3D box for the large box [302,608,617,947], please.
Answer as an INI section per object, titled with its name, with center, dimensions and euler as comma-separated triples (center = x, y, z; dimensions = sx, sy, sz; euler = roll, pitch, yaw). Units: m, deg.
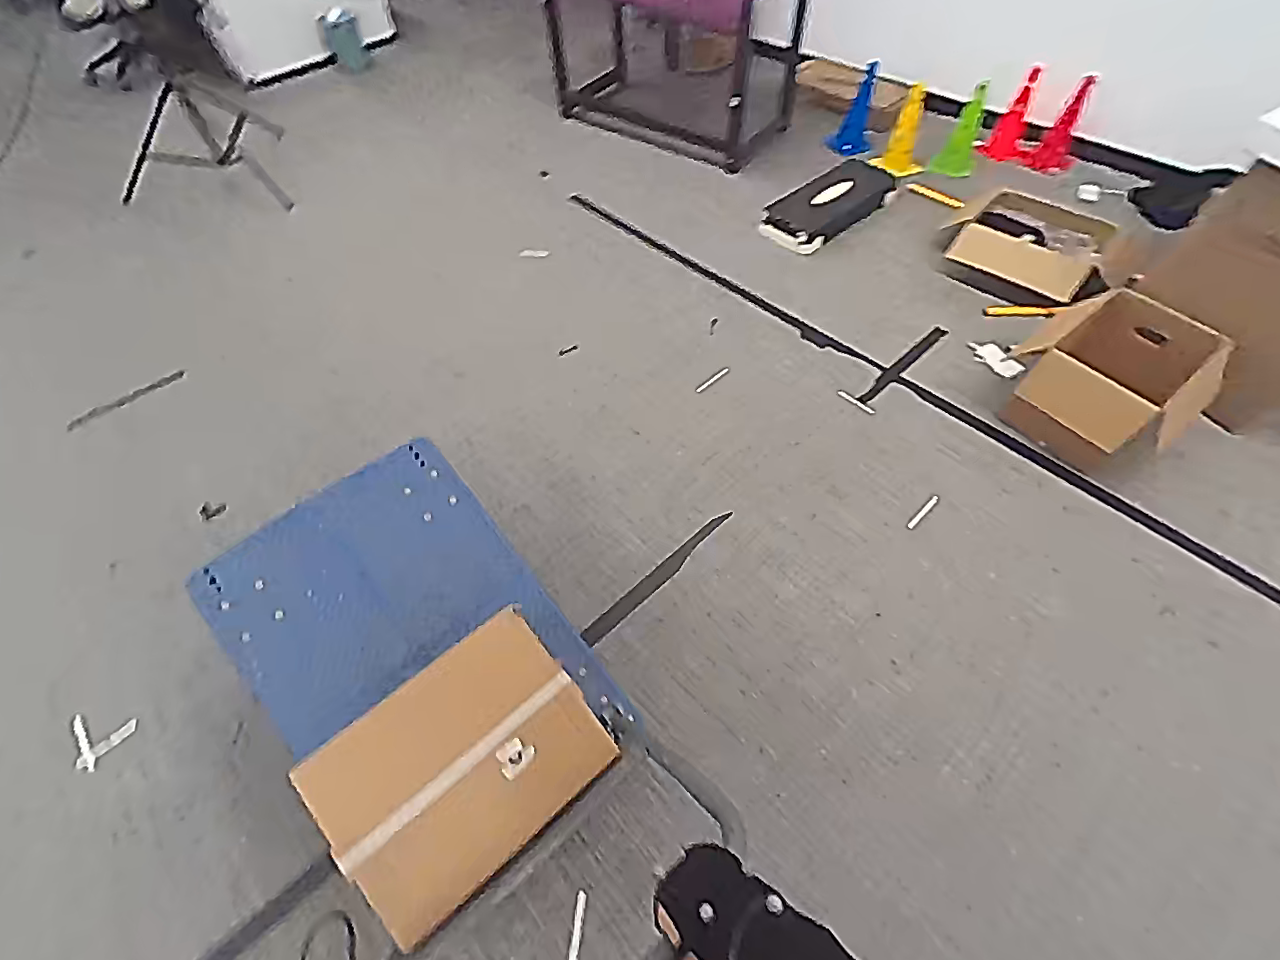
[large box]
center = -0.307, 0.505, 1.011
dimensions = 0.408, 0.320, 0.320
euler = -37, 83, -21
